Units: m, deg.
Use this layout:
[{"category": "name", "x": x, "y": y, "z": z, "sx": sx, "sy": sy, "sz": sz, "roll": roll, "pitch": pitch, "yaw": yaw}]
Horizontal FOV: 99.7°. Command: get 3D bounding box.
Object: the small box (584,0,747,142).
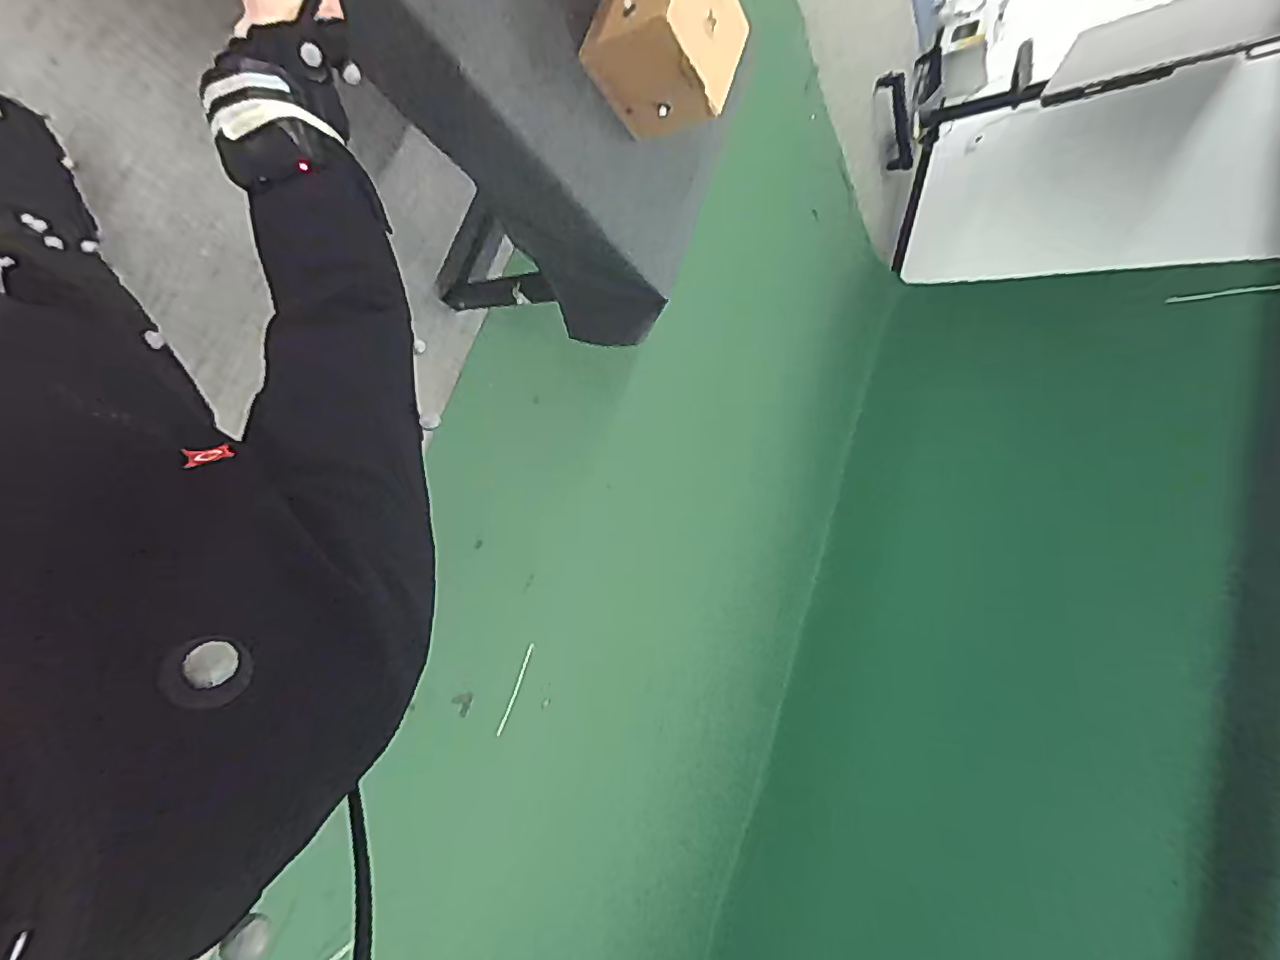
[{"category": "small box", "x": 0.038, "y": -0.669, "z": 0.836, "sx": 0.168, "sy": 0.176, "sz": 0.179, "roll": 31, "pitch": 73, "yaw": -51}]
